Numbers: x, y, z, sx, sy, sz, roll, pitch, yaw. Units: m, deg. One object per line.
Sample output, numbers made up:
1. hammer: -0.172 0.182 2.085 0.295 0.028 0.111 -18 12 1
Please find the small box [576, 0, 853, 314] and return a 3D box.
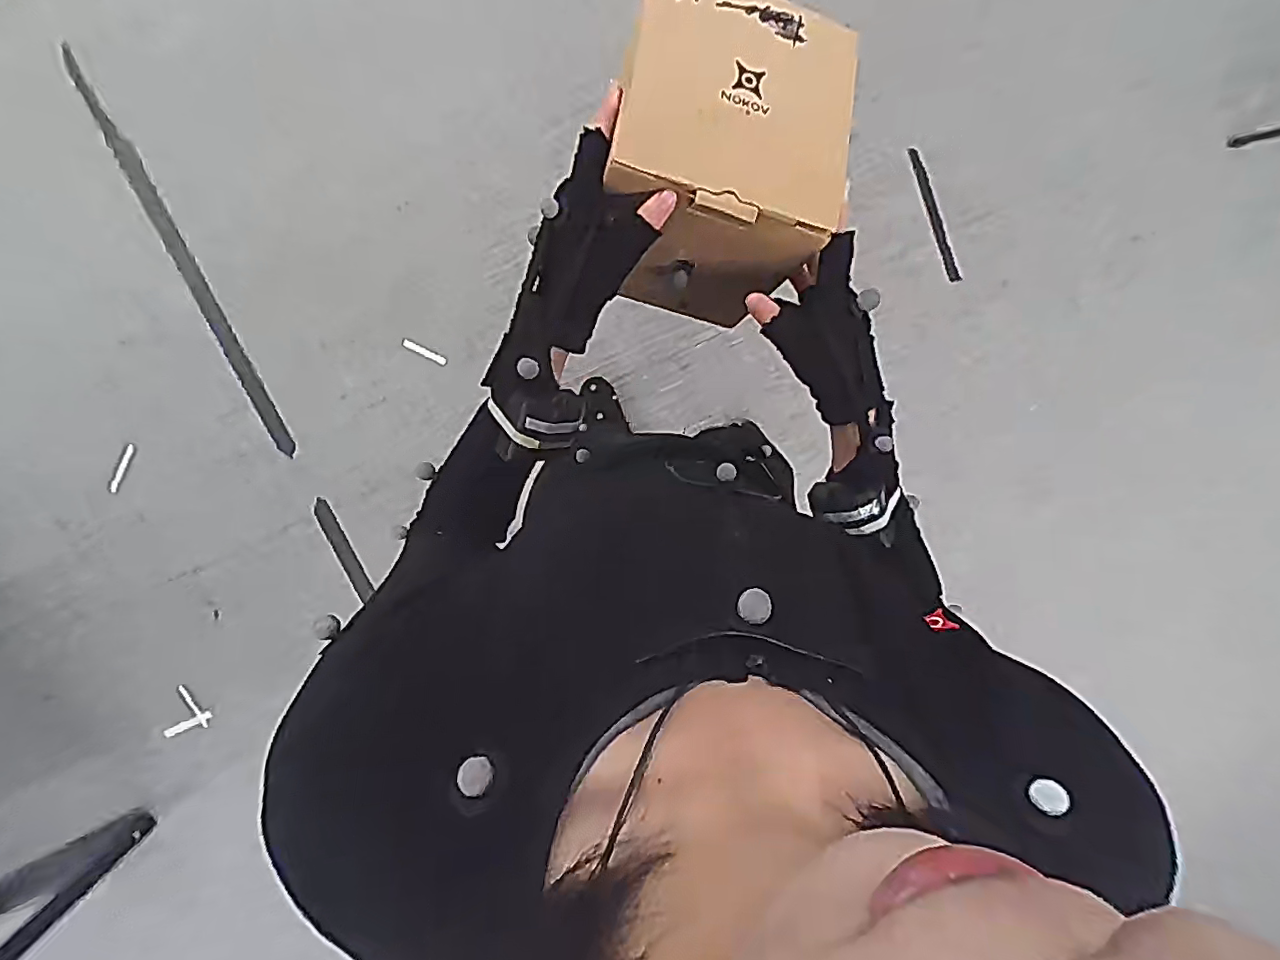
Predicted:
1. small box: 0.047 -0.263 0.449 0.168 0.176 0.179 11 81 -14
